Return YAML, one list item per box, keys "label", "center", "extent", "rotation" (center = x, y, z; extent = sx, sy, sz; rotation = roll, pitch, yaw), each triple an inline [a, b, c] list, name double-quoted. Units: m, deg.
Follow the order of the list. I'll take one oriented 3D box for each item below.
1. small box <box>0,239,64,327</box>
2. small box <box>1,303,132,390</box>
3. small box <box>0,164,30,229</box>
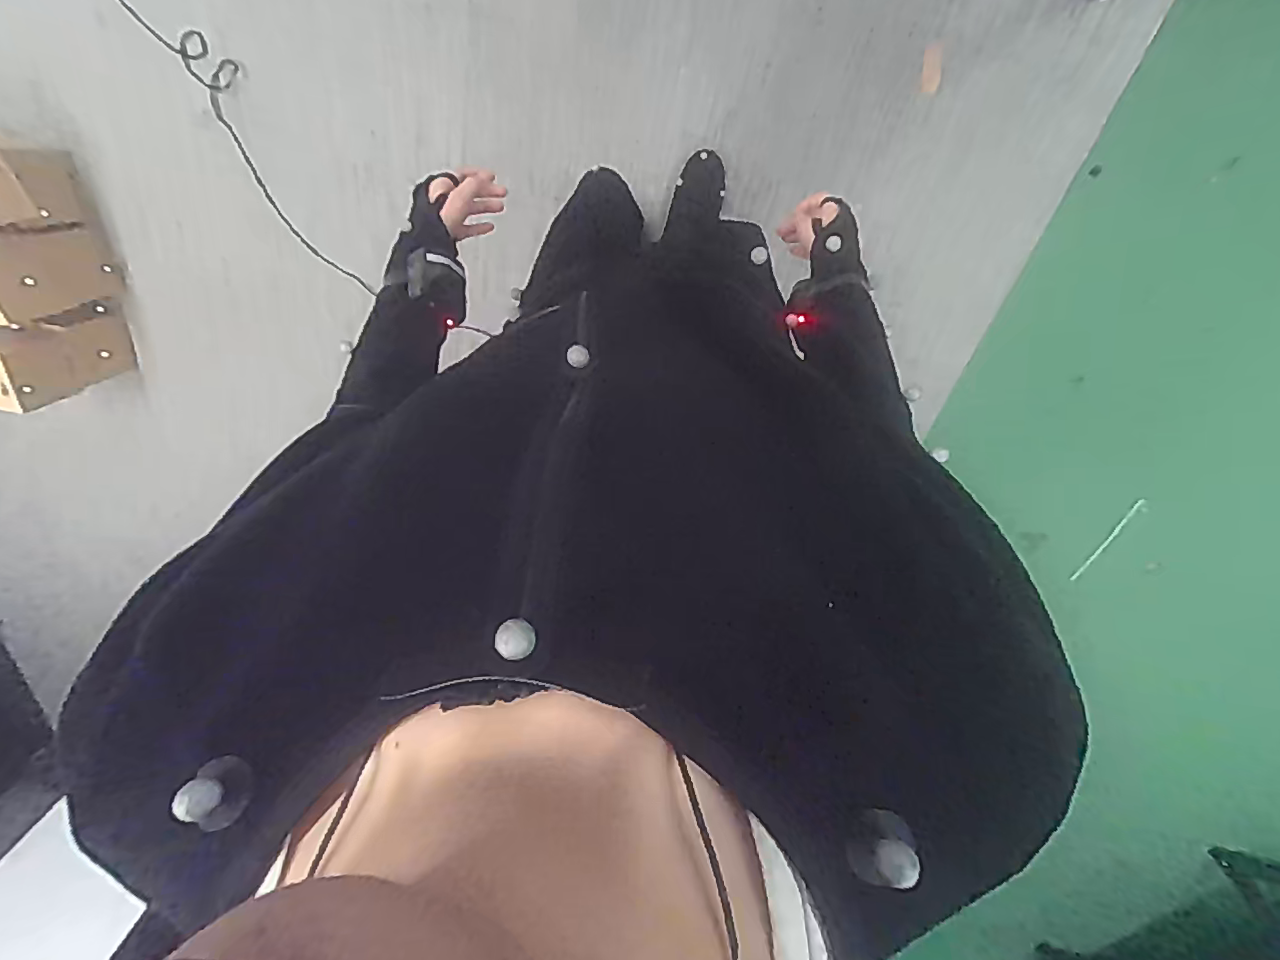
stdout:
- label: "small box"
  center: [-1.519, -0.457, 1.257]
  extent: [0.179, 0.176, 0.168]
  rotation: [-1, 121, 7]
- label: "small box"
  center: [-1.583, -0.376, 1.501]
  extent: [0.168, 0.176, 0.179]
  rotation: [13, 122, -1]
- label: "small box"
  center: [-1.490, -0.622, 1.152]
  extent: [0.179, 0.176, 0.168]
  rotation: [-8, 119, 12]
